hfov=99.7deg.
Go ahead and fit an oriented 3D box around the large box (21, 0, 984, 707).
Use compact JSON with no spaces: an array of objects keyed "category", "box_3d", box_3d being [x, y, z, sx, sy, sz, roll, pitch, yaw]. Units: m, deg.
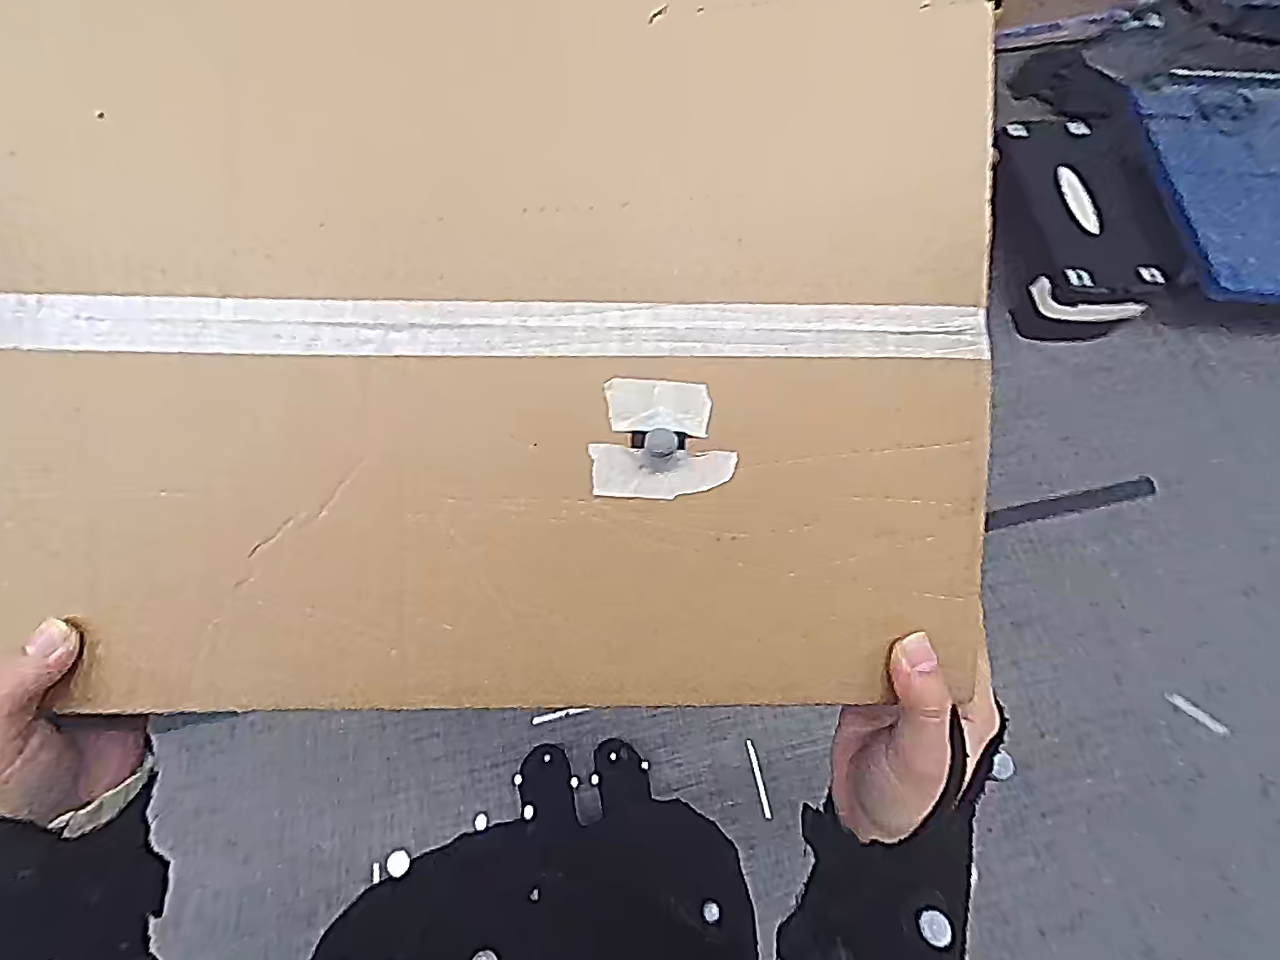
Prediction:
[{"category":"large box","box_3d":[-0.059,-0.063,0.378,0.408,0.320,0.320,1,93,-3]}]
